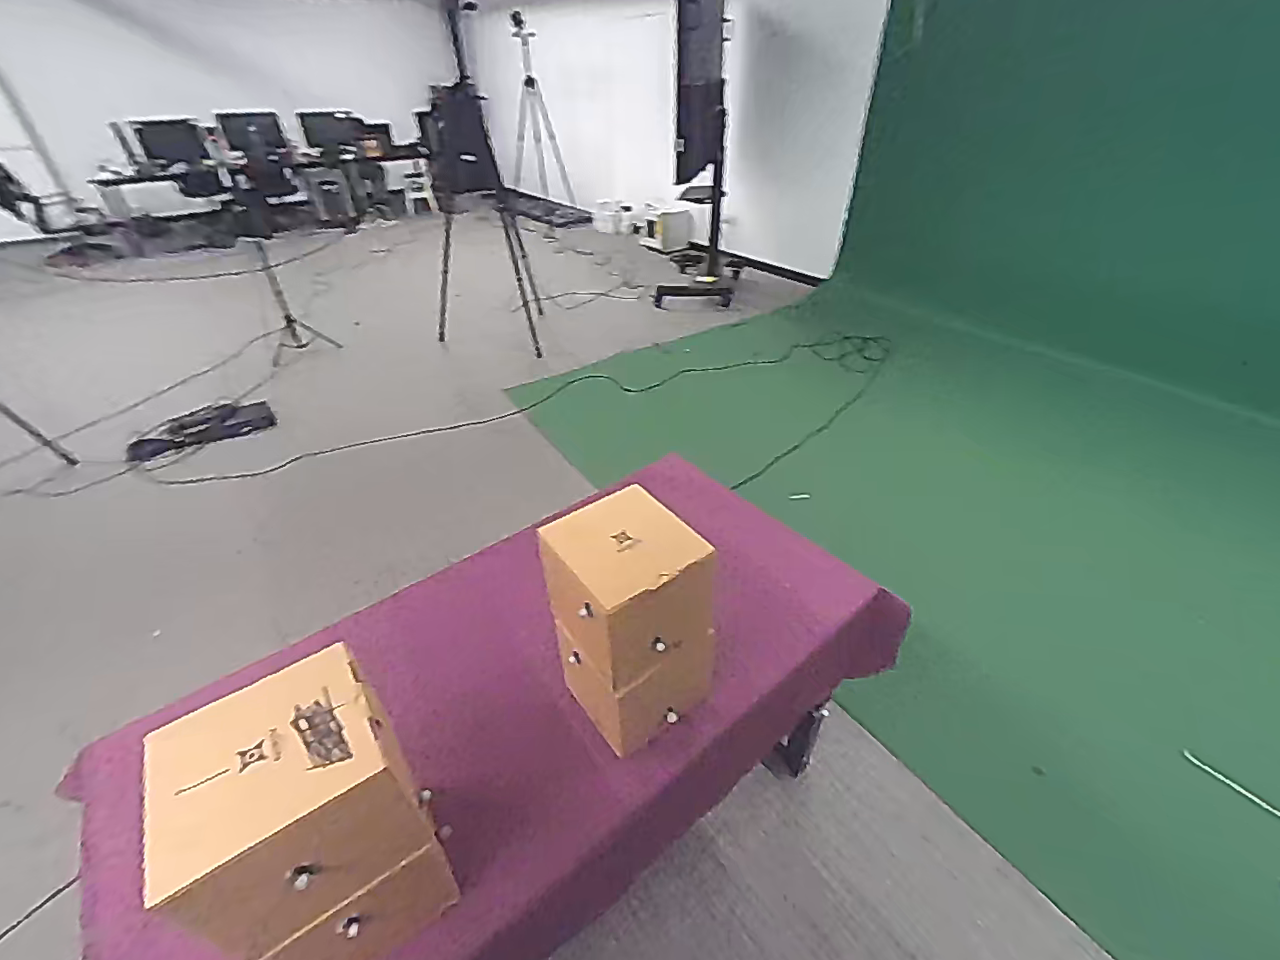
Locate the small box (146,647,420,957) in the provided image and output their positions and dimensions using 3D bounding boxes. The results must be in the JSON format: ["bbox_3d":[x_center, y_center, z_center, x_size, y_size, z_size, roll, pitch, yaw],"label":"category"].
[{"bbox_3d":[-0.338,0.311,0.536,0.179,0.176,0.168,-26,44,-27],"label":"small box"}]

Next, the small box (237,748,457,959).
[{"bbox_3d":[-0.338,0.444,0.631,0.179,0.176,0.168,-24,43,-28],"label":"small box"}]

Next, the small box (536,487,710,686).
[{"bbox_3d":[-0.025,0.143,0.750,0.168,0.176,0.179,-25,44,-28],"label":"small box"}]

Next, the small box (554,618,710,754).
[{"bbox_3d":[-0.015,0.278,0.842,0.179,0.176,0.168,-25,42,-29],"label":"small box"}]
